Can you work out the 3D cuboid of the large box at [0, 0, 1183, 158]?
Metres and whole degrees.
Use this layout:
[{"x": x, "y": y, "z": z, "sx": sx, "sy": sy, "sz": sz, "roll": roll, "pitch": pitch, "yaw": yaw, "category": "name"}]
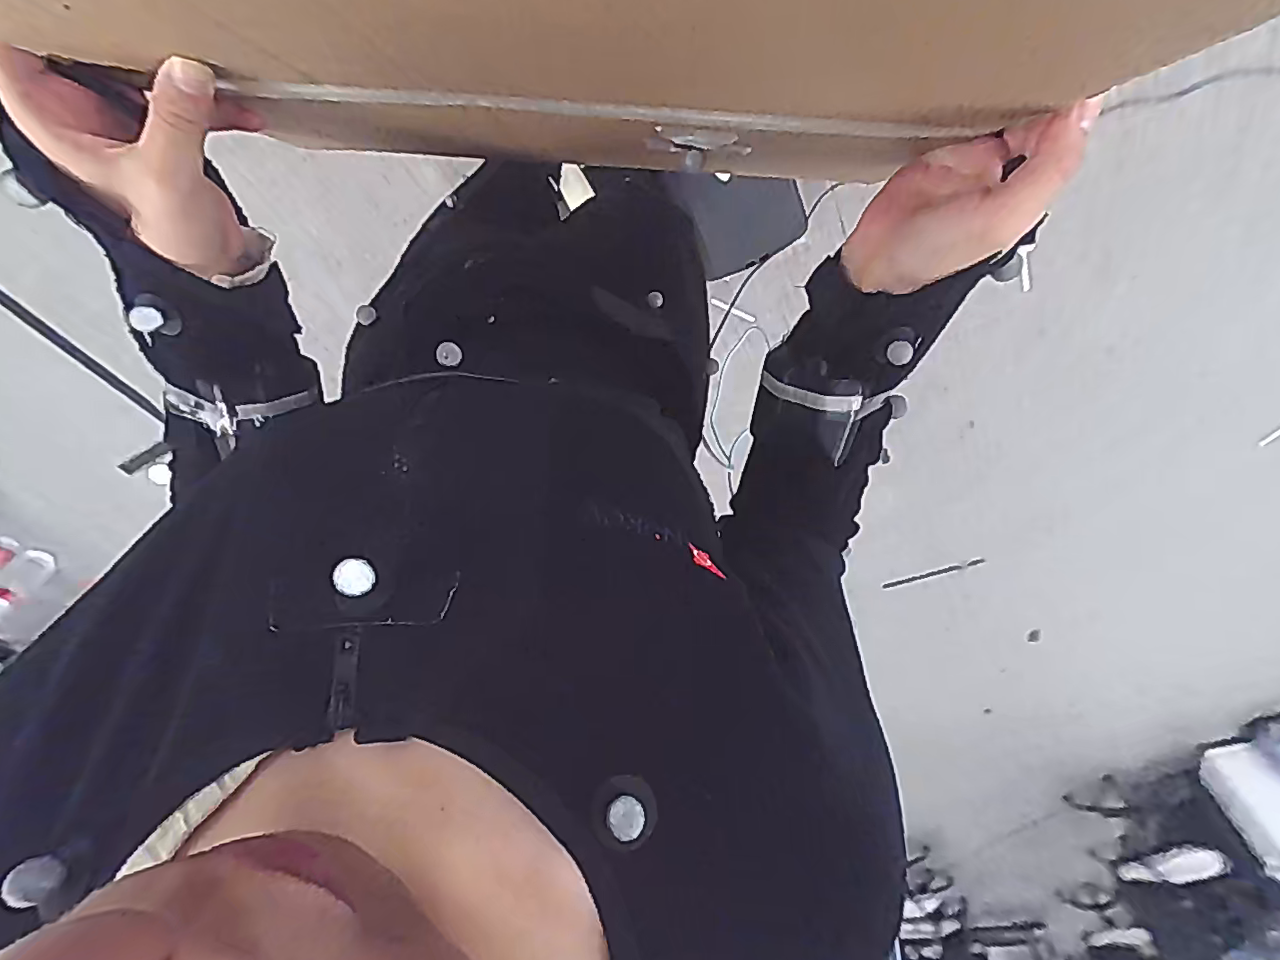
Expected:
[{"x": -0.041, "y": -0.316, "z": 0.177, "sx": 0.408, "sy": 0.320, "sz": 0.320, "roll": 2, "pitch": 112, "yaw": 0, "category": "large box"}]
